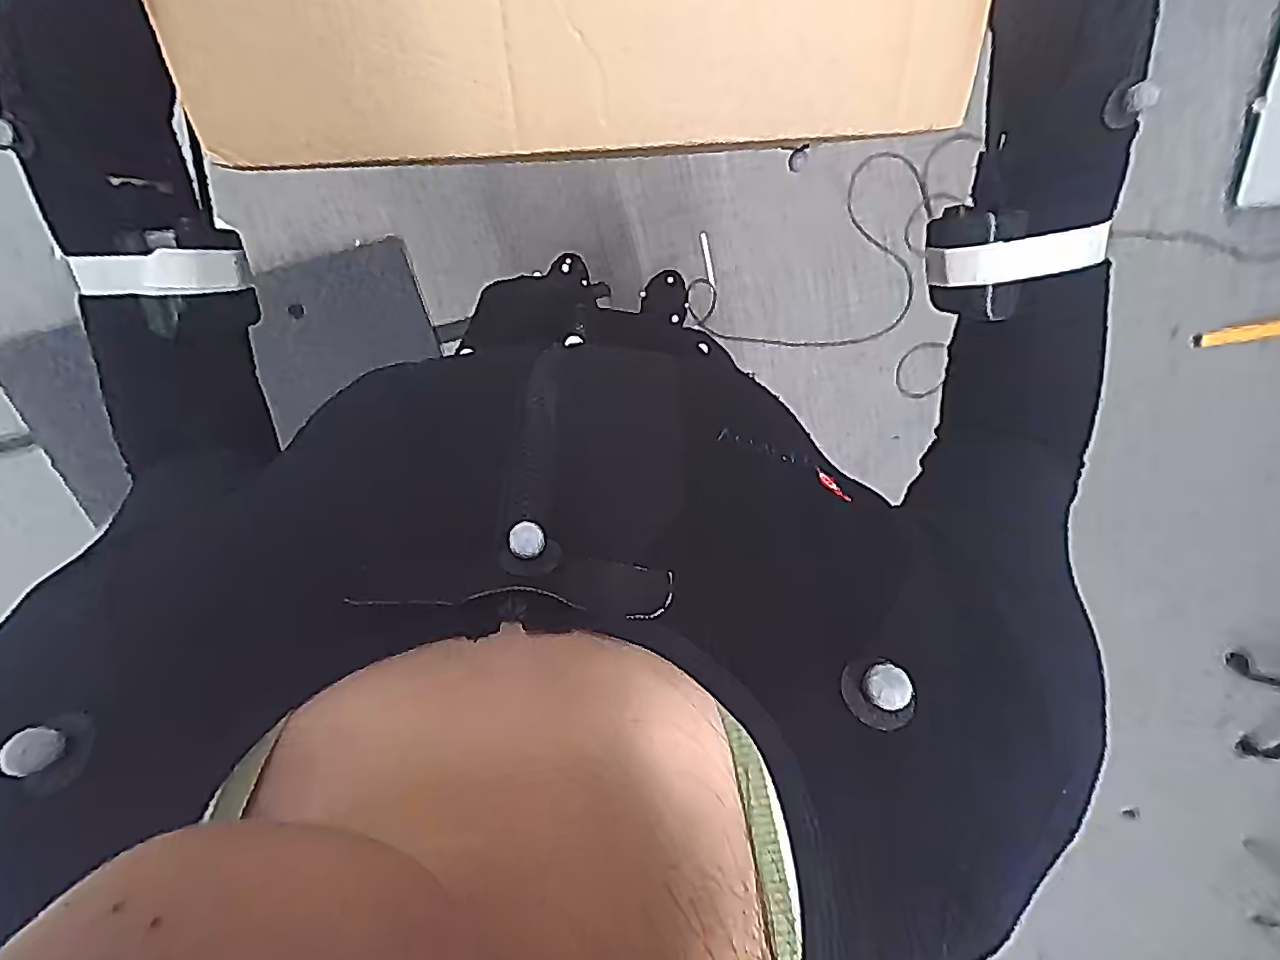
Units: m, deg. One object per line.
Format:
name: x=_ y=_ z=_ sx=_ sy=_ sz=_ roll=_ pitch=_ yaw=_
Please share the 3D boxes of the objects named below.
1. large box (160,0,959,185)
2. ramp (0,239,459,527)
large box: x=-0.046 y=-0.390 z=0.353 sx=0.408 sy=0.320 sz=0.320 roll=-5 pitch=120 yaw=-1
ramp: x=-1.027 y=-0.238 z=1.373 sx=0.991 sy=0.206 sz=0.509 roll=-14 pitch=109 yaw=6
